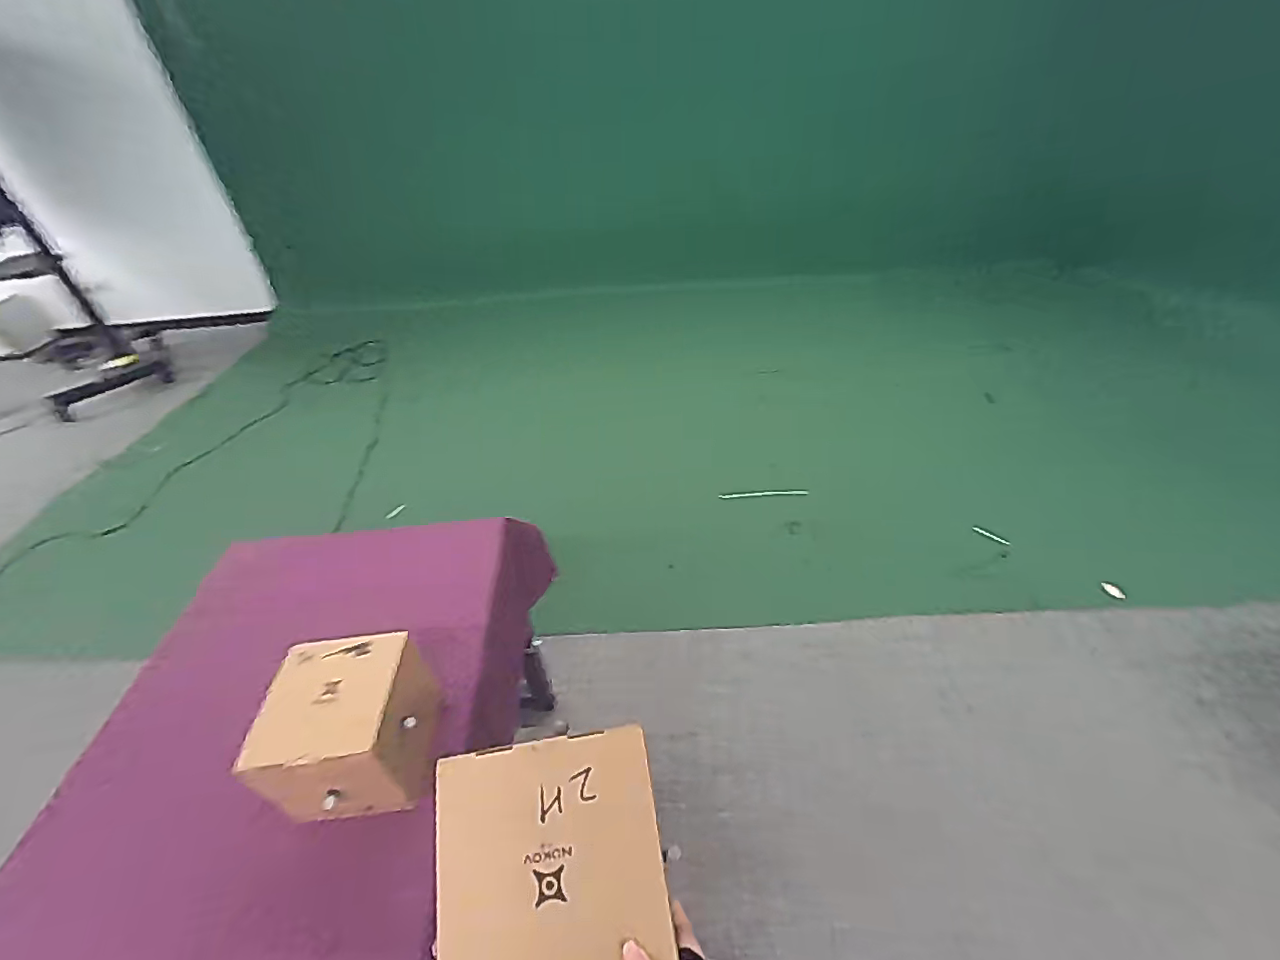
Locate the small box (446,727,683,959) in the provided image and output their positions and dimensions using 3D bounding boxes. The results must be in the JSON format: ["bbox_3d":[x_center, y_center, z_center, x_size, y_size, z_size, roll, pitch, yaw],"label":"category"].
[{"bbox_3d":[-0.056,0.317,0.466,0.168,0.176,0.179,-8,65,-2],"label":"small box"}]

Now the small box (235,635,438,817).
[{"bbox_3d":[-0.401,0.347,0.755,0.168,0.176,0.179,-6,39,-1],"label":"small box"}]
